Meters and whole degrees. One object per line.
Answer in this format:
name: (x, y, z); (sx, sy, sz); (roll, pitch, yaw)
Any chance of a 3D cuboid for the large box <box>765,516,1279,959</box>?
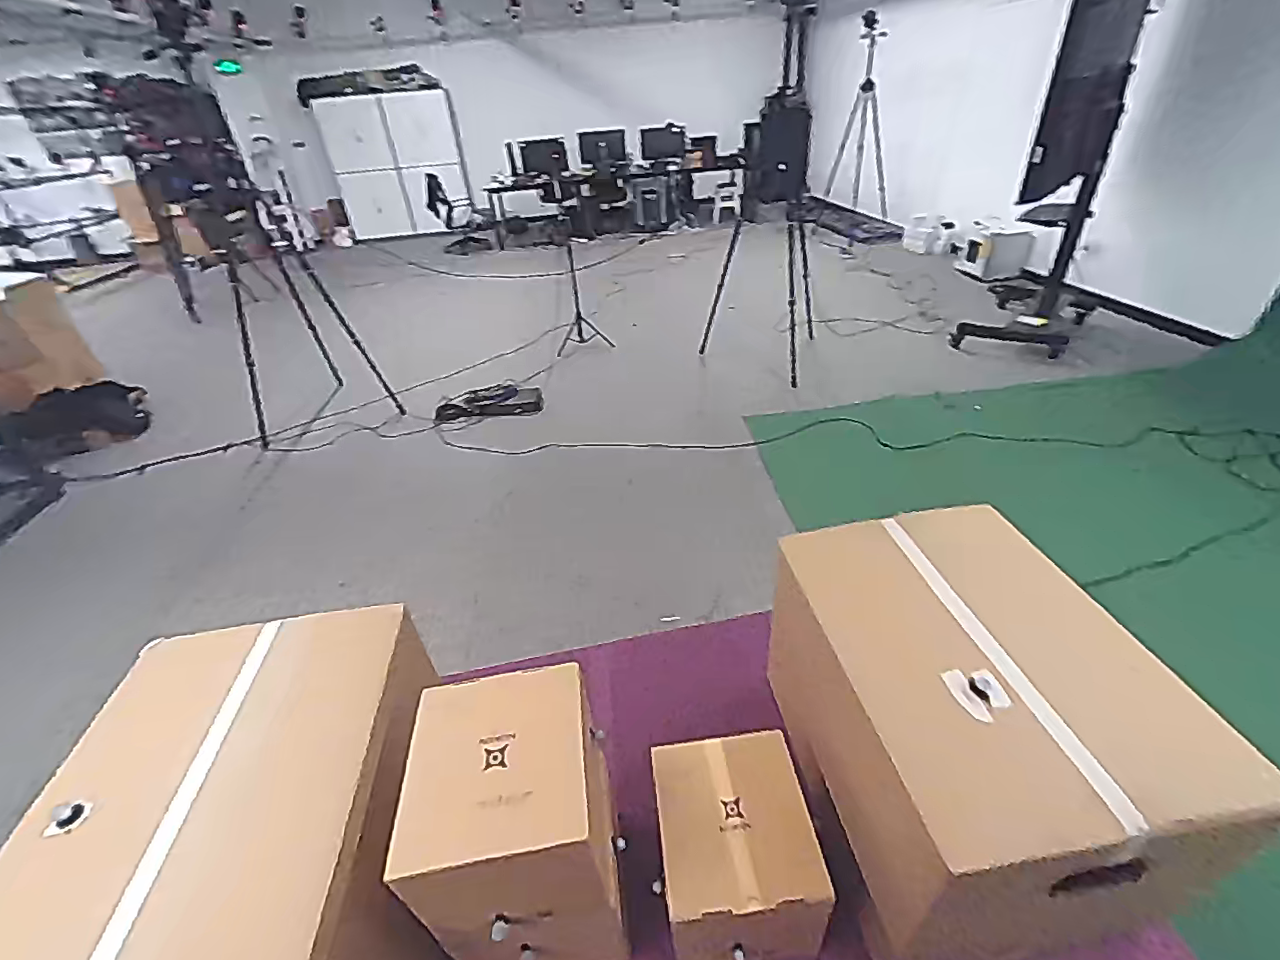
large box: (0.381, 0.301, 0.688); (0.320, 0.320, 0.408); (-8, 36, -4)
